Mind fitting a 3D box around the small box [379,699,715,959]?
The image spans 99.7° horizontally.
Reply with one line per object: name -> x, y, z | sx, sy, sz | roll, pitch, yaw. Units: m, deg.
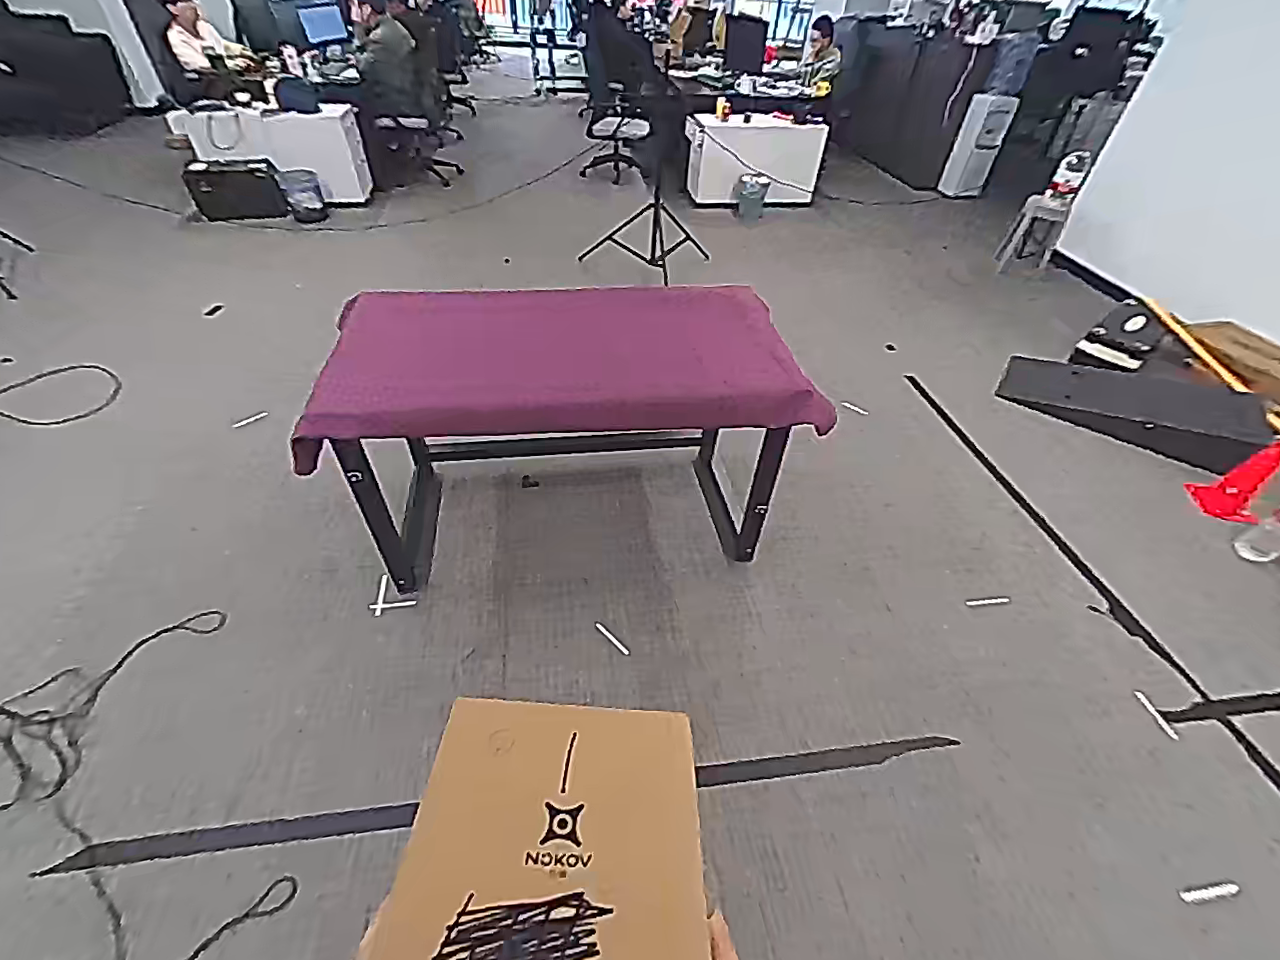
small box -> -0.051, 0.273, 0.349 | 0.168, 0.176, 0.179 | 5, 31, -4
